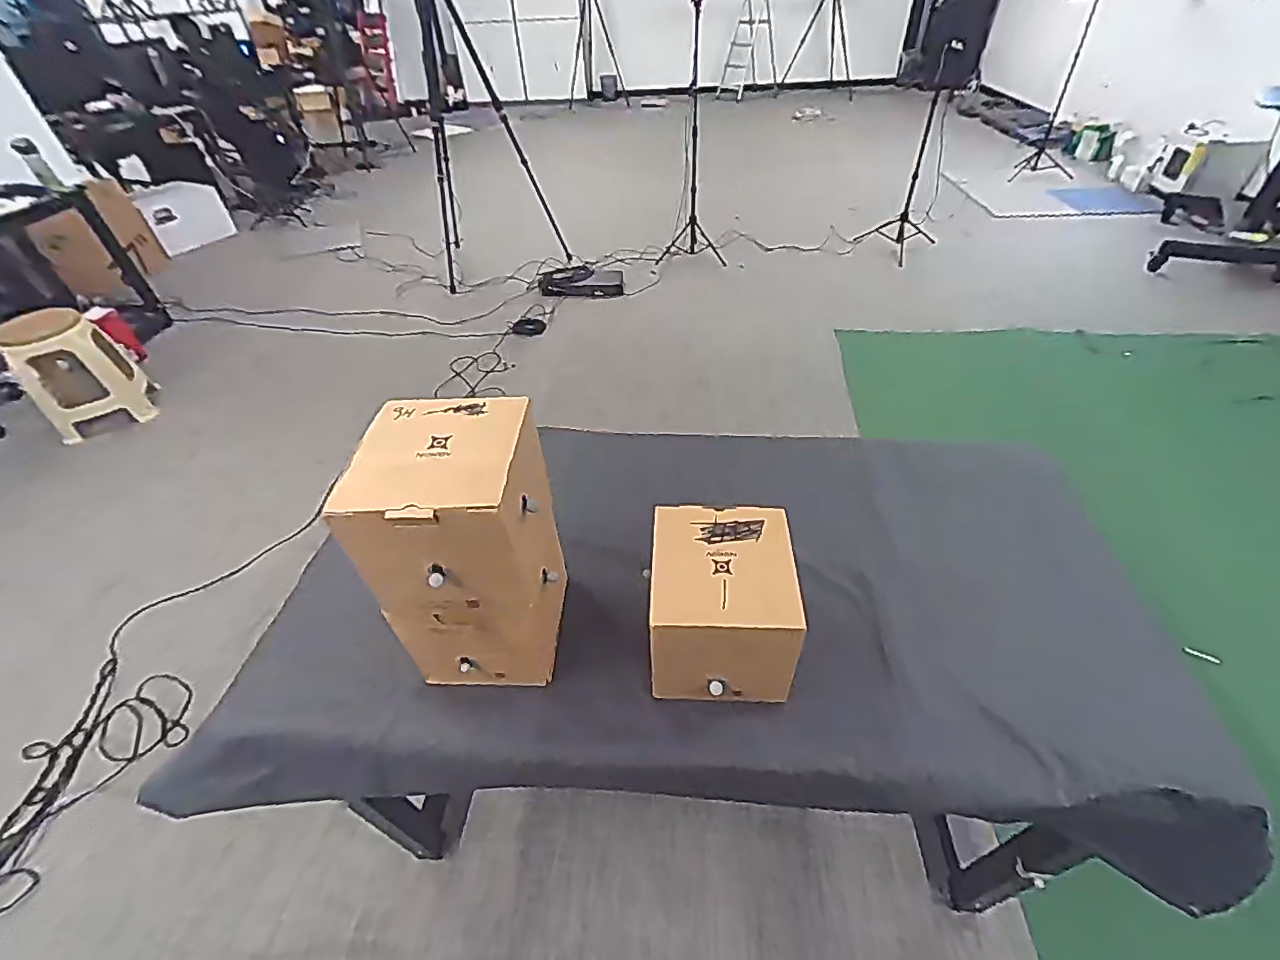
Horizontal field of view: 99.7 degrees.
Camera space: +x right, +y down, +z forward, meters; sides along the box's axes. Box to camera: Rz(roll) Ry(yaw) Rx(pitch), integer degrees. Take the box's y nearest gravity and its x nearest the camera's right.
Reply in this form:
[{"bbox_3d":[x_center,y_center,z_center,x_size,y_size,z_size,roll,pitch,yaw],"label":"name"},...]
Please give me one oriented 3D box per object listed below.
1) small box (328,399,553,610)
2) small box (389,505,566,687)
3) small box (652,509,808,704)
[{"bbox_3d":[-0.197,0.030,0.599,0.168,0.176,0.179,-1,43,2],"label":"small box"},{"bbox_3d":[-0.195,0.148,0.713,0.168,0.176,0.179,0,43,3],"label":"small box"},{"bbox_3d":[0.102,0.156,0.679,0.168,0.176,0.179,0,42,5],"label":"small box"}]
